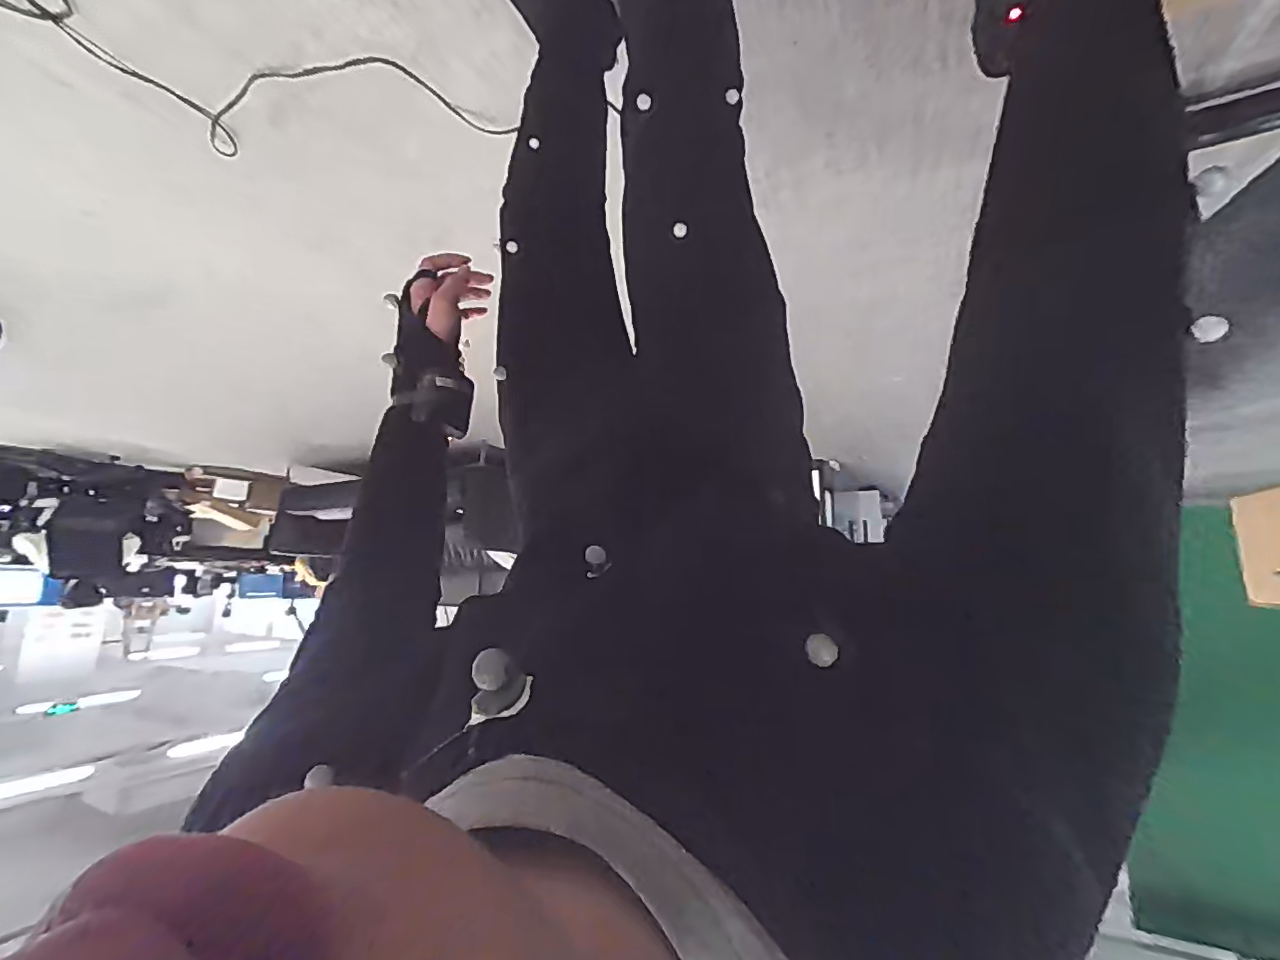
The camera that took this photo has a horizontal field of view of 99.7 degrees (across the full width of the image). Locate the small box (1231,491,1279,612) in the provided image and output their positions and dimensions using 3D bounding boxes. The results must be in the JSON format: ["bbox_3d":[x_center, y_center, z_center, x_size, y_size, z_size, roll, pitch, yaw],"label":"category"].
[{"bbox_3d":[0.972,0.096,0.741,0.168,0.176,0.179,-2,169,22],"label":"small box"}]
